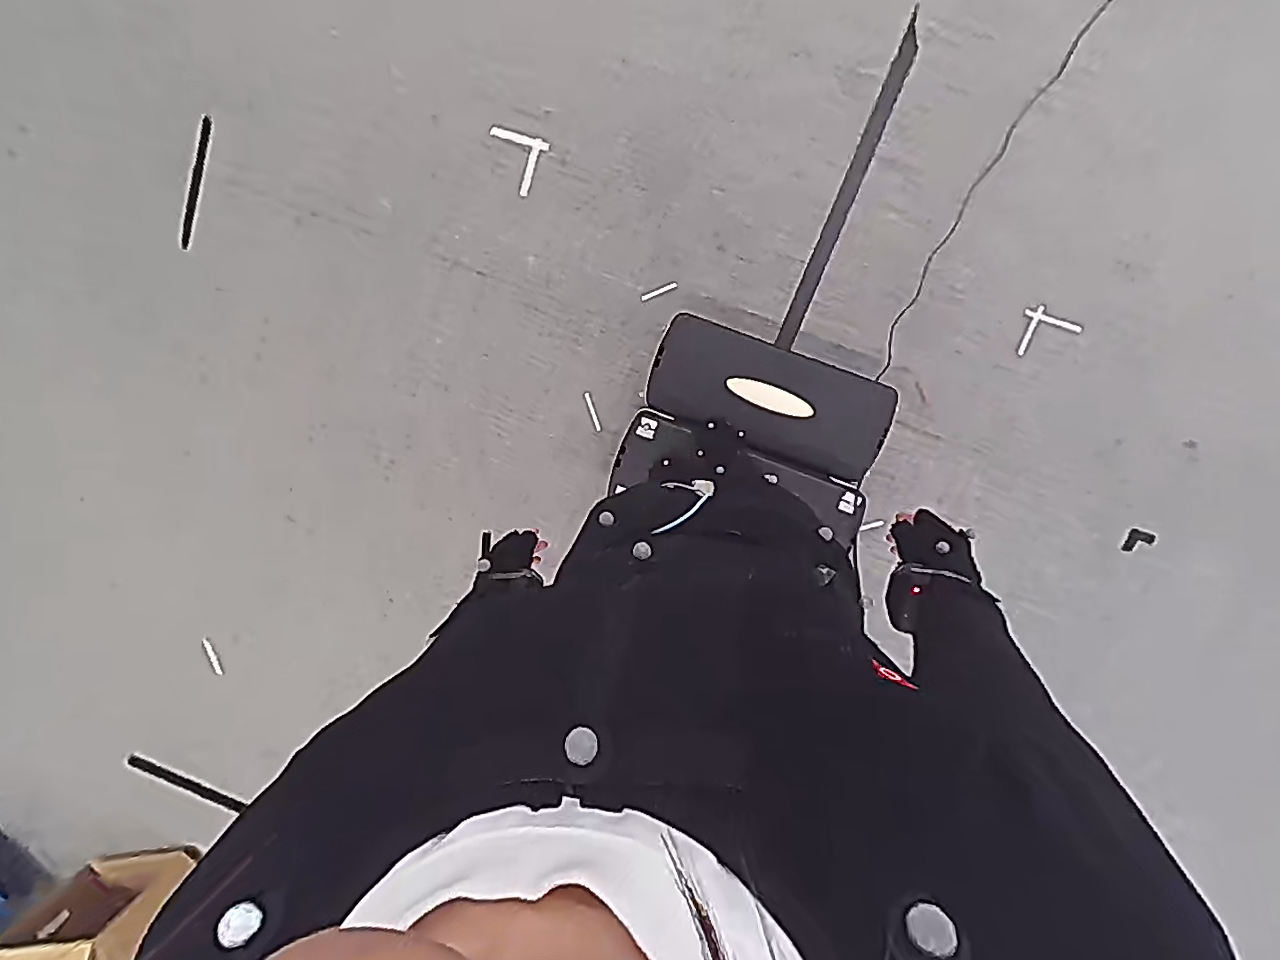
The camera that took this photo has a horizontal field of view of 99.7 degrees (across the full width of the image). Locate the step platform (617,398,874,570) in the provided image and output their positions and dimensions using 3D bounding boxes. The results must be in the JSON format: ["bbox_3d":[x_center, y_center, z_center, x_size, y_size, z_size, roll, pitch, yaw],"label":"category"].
[{"bbox_3d":[0.281,0.006,1.514,0.684,0.204,0.286,20,99,4],"label":"step platform"}]
